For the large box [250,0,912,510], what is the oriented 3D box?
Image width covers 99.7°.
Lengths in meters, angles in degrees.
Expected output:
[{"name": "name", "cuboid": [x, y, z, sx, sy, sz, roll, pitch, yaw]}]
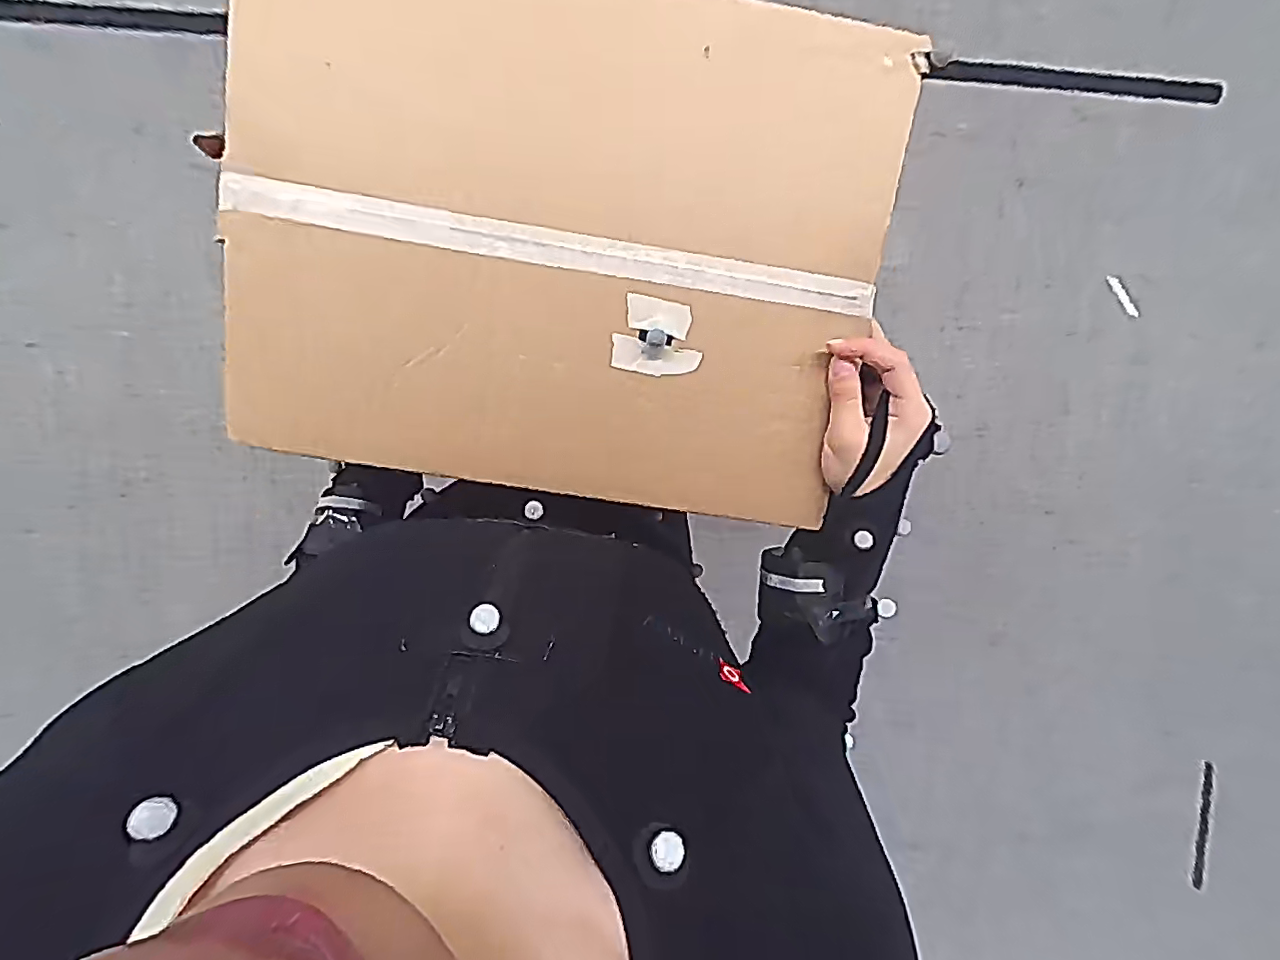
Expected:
[{"name": "large box", "cuboid": [-0.053, -0.176, 0.496, 0.408, 0.320, 0.320, 8, 101, -5]}]
